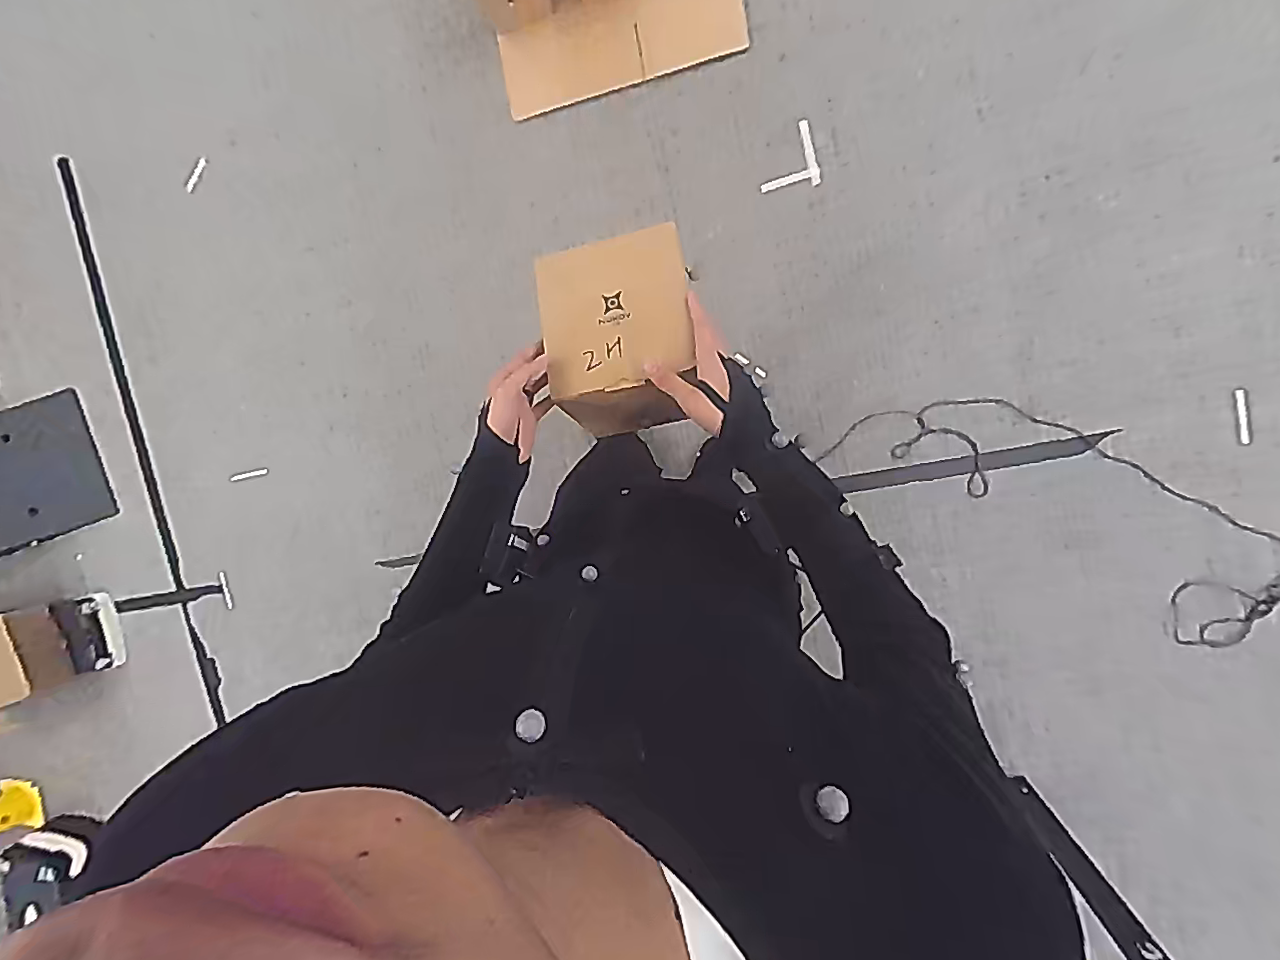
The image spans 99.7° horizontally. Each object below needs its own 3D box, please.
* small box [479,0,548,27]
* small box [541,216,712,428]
[{"bbox_3d":[-0.358,-1.386,1.459,0.179,0.176,0.168,-9,94,12],"label":"small box"},{"bbox_3d":[-0.008,-0.178,0.660,0.168,0.176,0.179,-10,79,11],"label":"small box"}]
